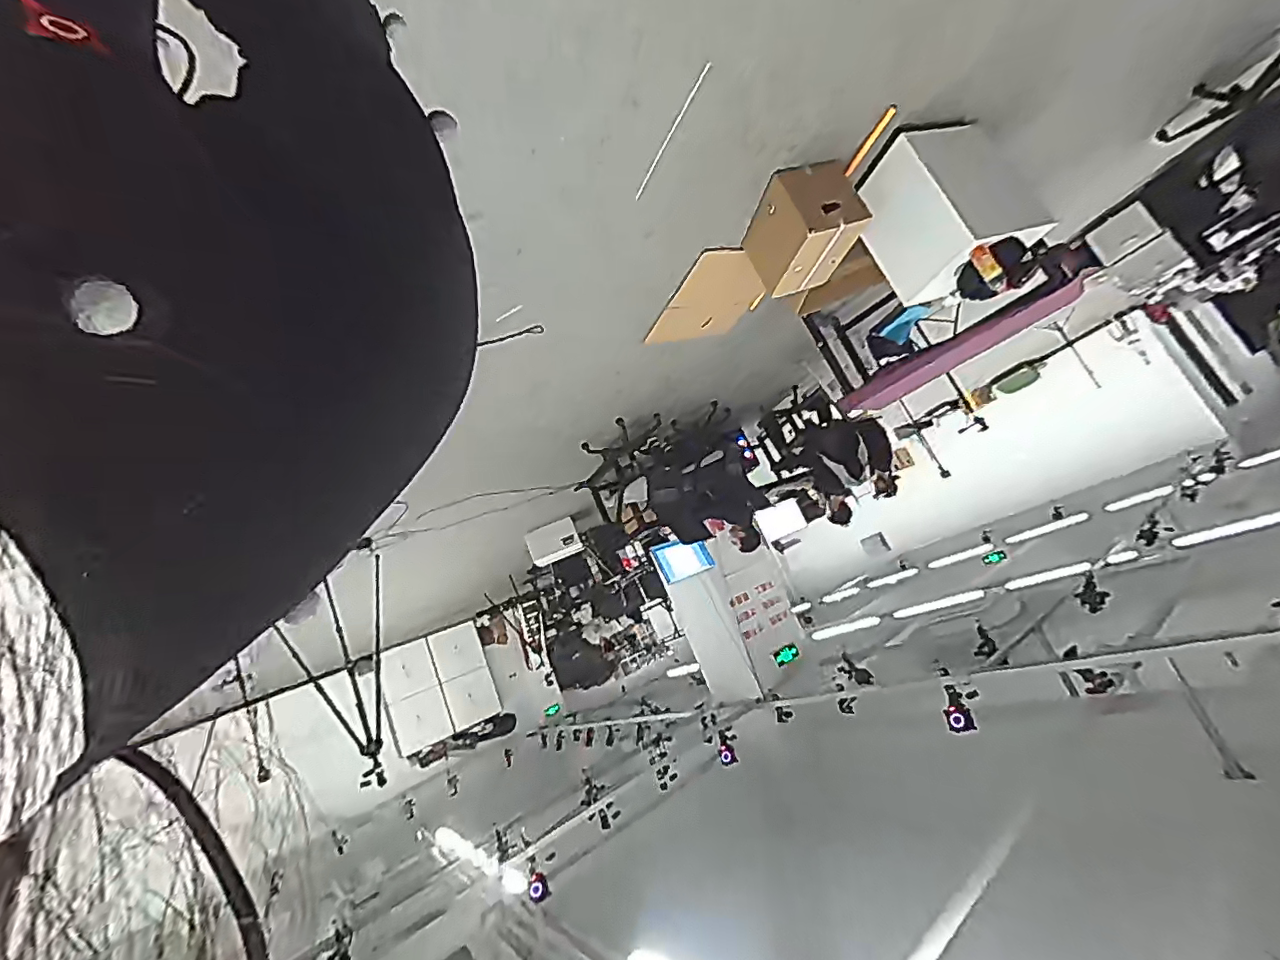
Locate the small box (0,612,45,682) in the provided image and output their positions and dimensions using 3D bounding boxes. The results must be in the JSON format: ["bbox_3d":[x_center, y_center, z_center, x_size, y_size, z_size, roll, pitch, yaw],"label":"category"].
[{"bbox_3d":[-1.598,0.433,1.305,0.168,0.176,0.179,-17,165,-33],"label":"small box"}]

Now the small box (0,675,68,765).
[{"bbox_3d":[-1.529,0.580,1.285,0.179,0.176,0.168,-16,166,-32],"label":"small box"}]
